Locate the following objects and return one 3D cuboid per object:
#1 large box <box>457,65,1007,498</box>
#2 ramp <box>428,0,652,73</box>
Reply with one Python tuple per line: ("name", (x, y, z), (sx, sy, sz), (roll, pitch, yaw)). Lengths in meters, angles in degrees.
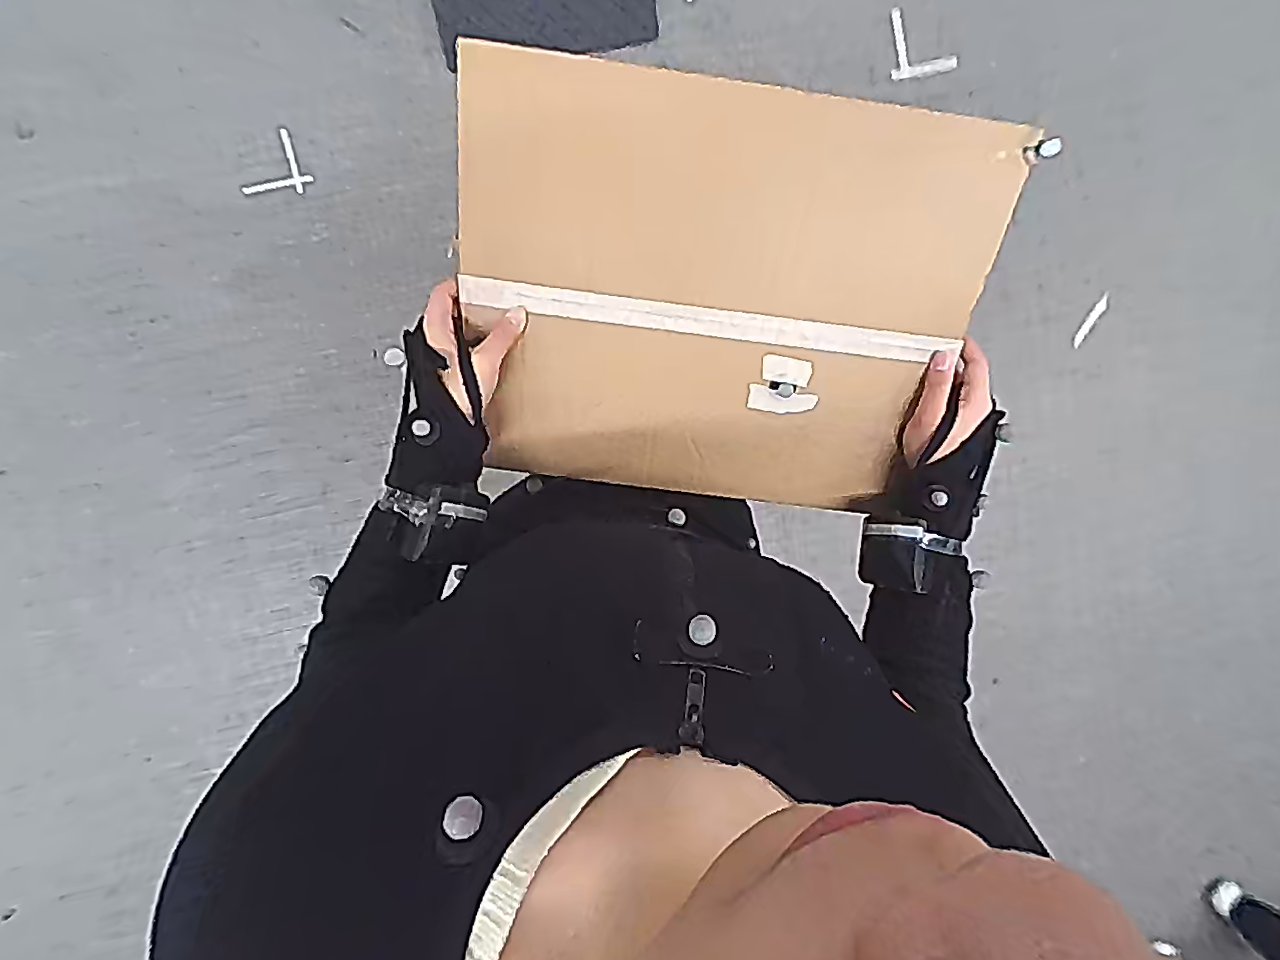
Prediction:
("large box", (0.053, -0.199, 0.579), (0.408, 0.320, 0.320), (5, 117, -3))
("ramp", (-0.292, -1.436, 1.086), (0.509, 0.206, 0.991), (-14, 99, -6))
